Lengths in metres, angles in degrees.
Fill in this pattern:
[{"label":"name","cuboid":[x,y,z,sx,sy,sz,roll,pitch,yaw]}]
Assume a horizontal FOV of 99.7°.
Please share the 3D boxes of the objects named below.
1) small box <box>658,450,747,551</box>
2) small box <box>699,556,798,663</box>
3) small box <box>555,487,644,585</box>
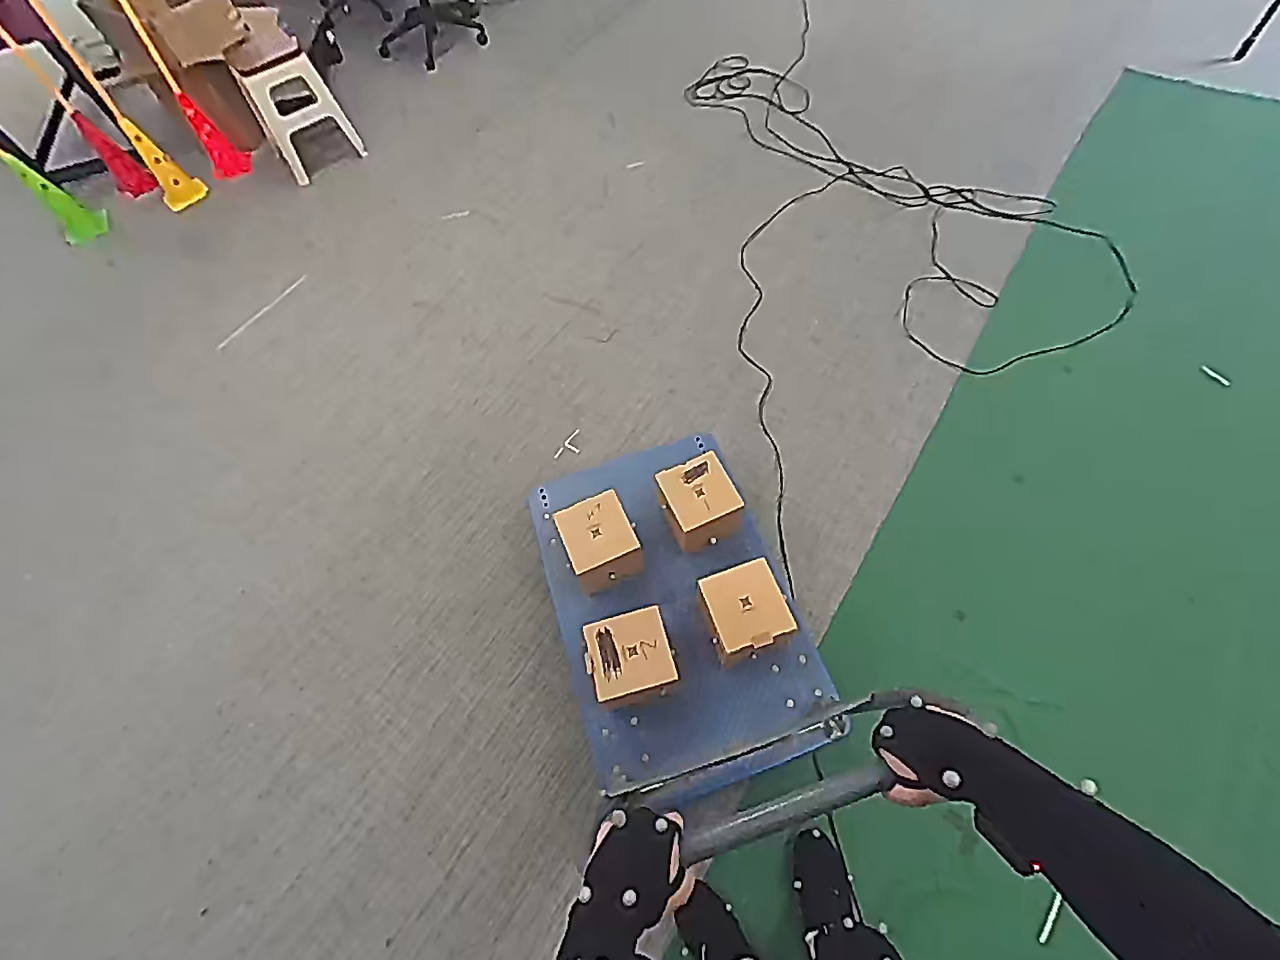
[{"label":"small box","cuboid":[0.155,0.057,1.394,0.168,0.176,0.179,-23,63,-7]},{"label":"small box","cuboid":[0.242,0.305,1.257,0.168,0.176,0.179,-18,63,-5]},{"label":"small box","cuboid":[-0.098,0.151,1.365,0.168,0.176,0.179,-22,63,-8]}]
